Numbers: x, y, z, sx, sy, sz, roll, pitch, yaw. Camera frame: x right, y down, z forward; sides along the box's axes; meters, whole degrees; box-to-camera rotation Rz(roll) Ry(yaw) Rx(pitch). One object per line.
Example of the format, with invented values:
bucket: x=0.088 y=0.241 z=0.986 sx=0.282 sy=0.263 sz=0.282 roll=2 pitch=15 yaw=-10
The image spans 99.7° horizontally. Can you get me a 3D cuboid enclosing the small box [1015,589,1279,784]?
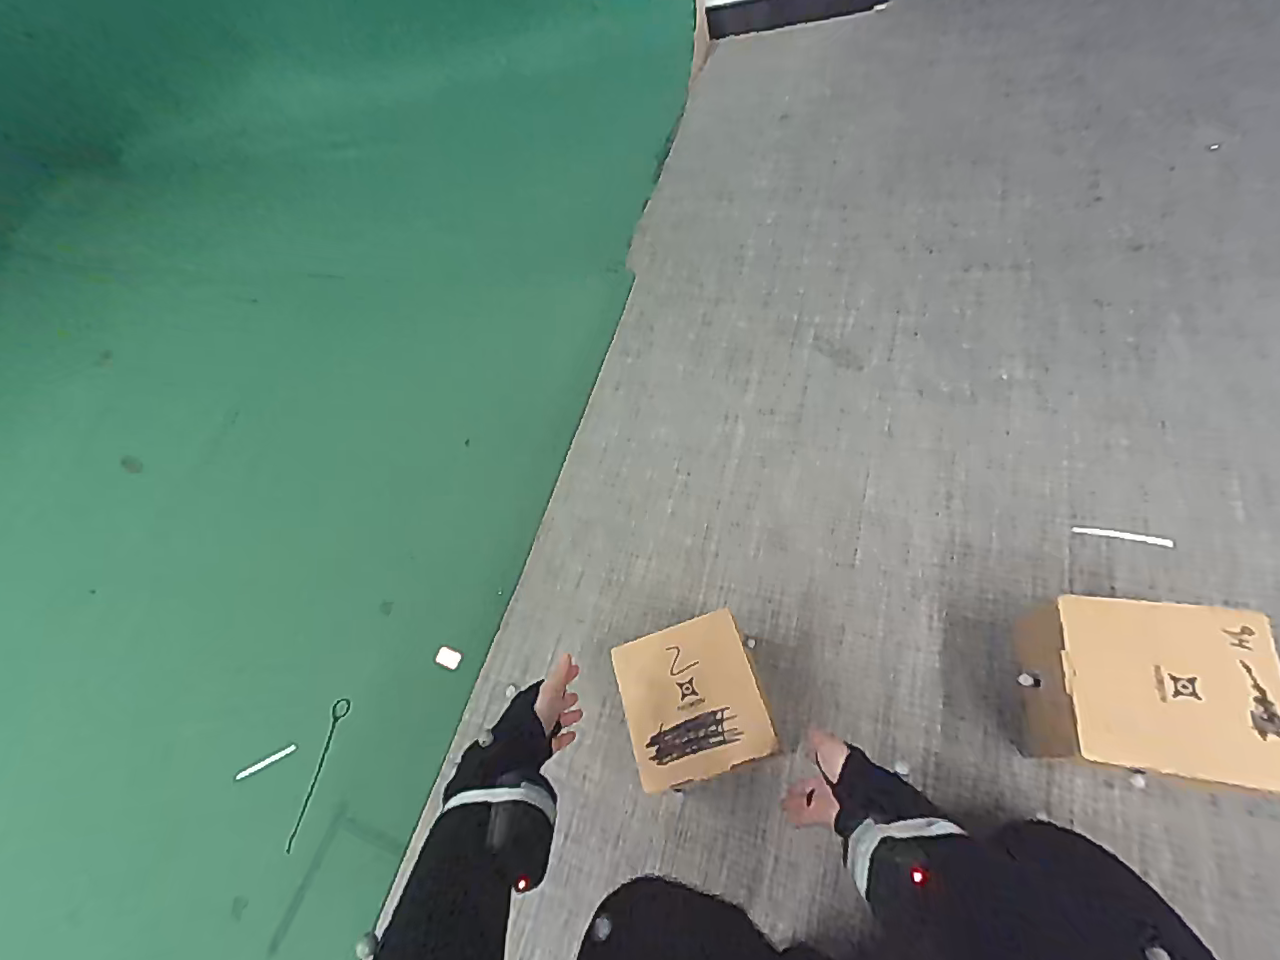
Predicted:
small box: x=0.541 y=0.230 z=0.602 sx=0.179 sy=0.176 sz=0.168 roll=1 pitch=64 yaw=20
